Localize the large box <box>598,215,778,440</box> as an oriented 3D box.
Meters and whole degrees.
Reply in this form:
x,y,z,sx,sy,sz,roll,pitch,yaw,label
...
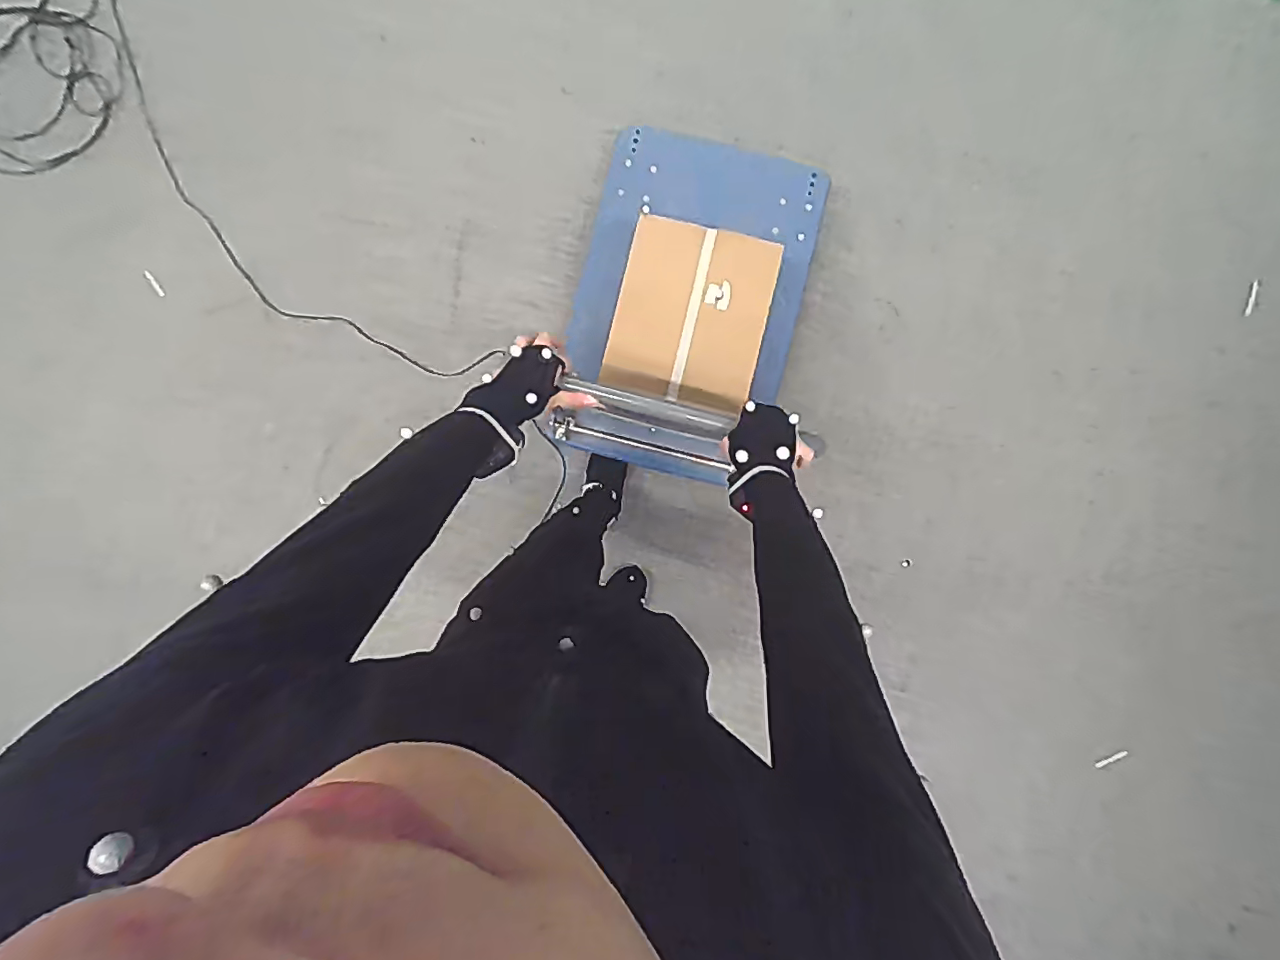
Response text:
x,y,z,sx,sy,sz,roll,pitch,yaw,label
0.104,-0.333,1.288,0.320,0.320,0.408,14,89,1,large box
